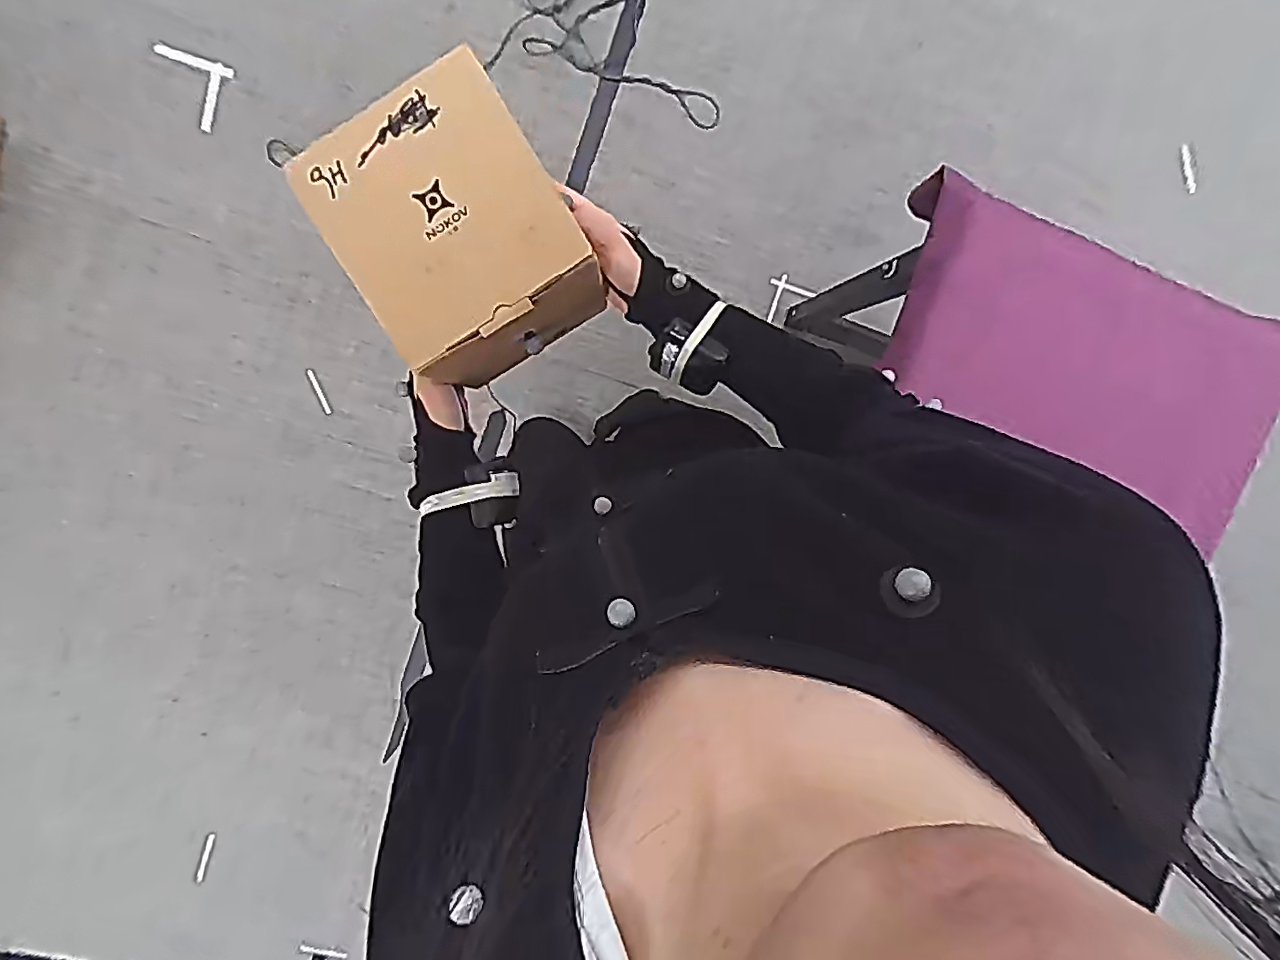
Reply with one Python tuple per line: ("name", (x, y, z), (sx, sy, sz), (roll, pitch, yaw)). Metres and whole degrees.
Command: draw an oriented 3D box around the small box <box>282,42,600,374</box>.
("small box", (-0.146, -0.205, 0.472), (0.168, 0.176, 0.179), (-32, 96, 2))
